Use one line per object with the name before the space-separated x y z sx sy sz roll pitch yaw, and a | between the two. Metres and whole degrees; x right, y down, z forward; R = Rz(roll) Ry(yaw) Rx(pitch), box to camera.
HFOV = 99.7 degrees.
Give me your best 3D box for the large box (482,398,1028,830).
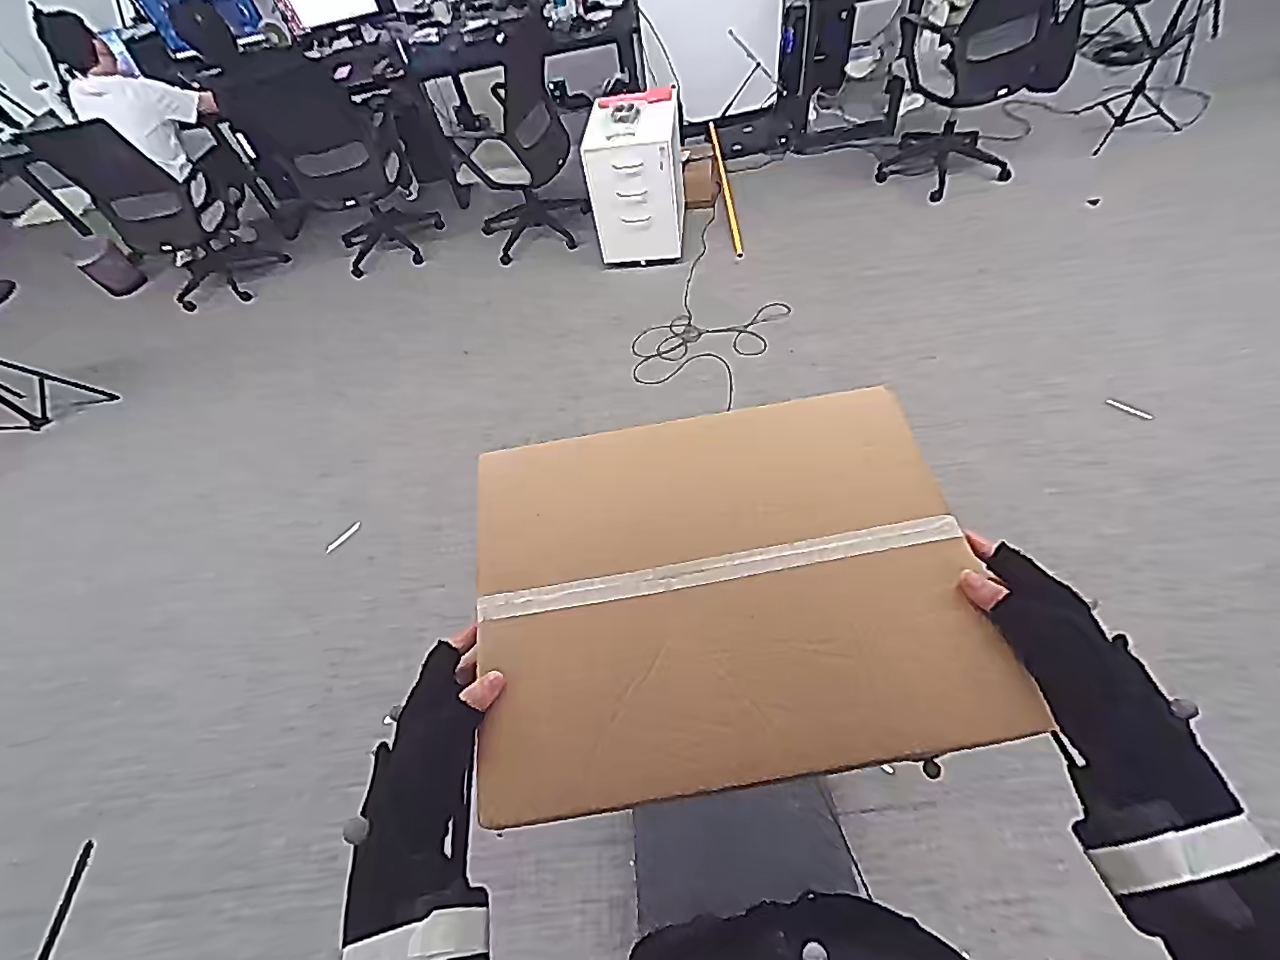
large box | 0.077 0.154 0.588 0.408 0.320 0.320 -10 59 -1
